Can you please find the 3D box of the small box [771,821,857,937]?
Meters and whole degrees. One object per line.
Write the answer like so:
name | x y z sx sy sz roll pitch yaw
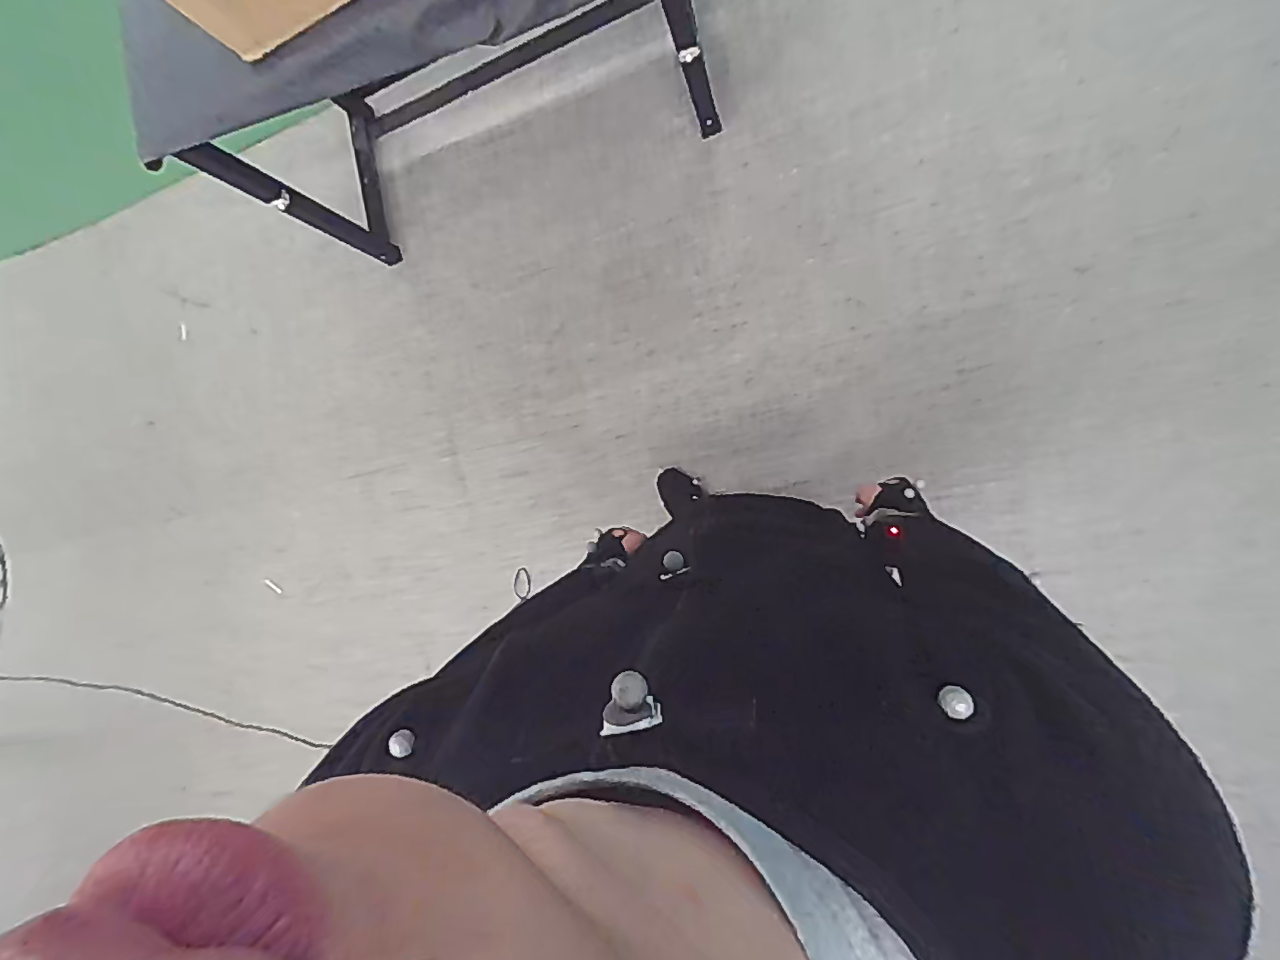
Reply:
small box | 0.446 1.021 1.393 0.168 0.176 0.179 -18 84 16
